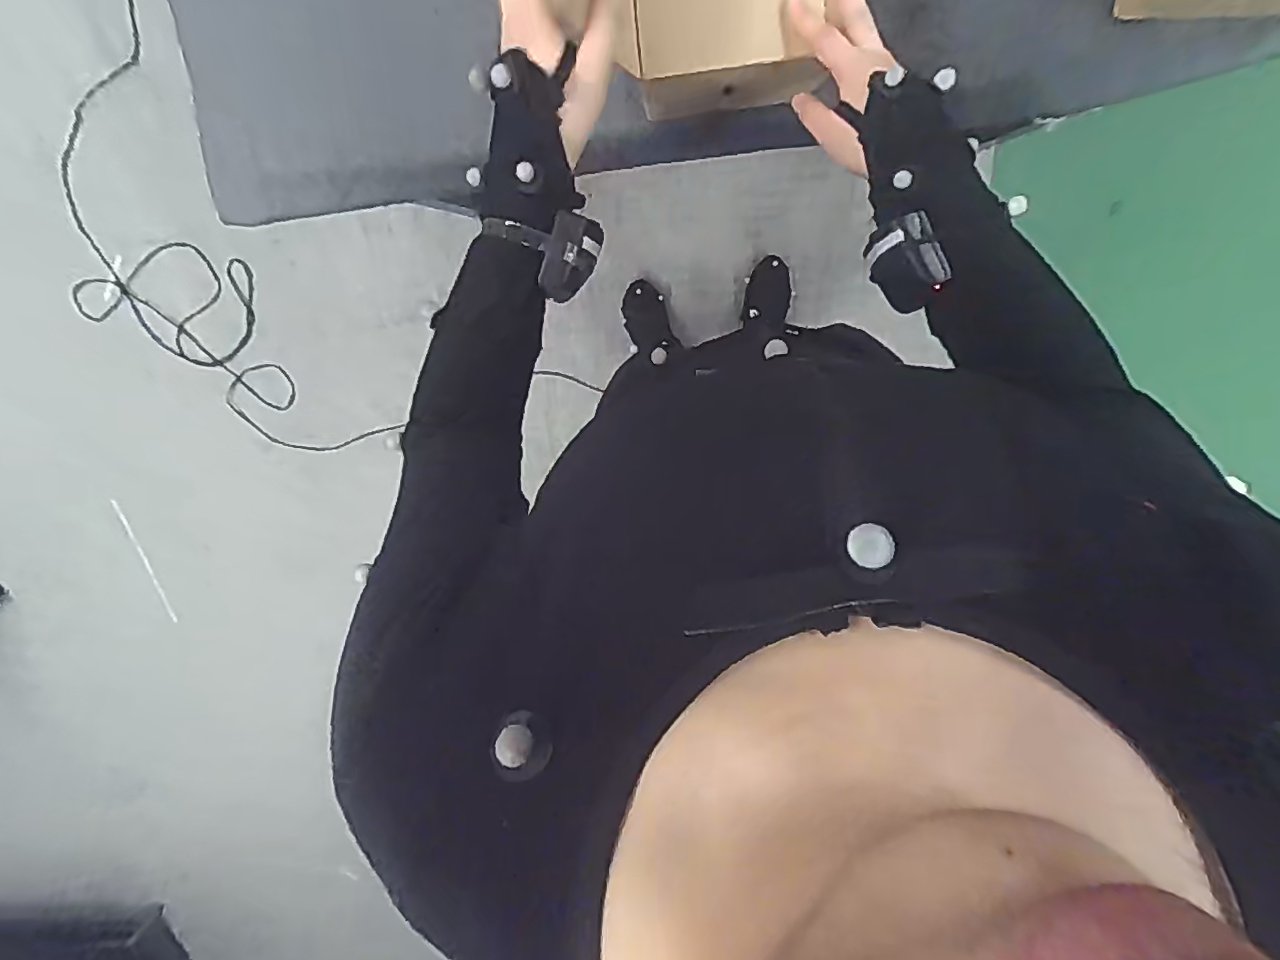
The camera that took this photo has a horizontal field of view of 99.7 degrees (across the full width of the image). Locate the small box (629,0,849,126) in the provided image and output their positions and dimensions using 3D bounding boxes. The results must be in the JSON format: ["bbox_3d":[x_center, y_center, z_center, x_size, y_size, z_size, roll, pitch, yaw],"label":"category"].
[{"bbox_3d":[0.082,-0.441,0.492,0.179,0.176,0.168,-3,113,7],"label":"small box"}]
